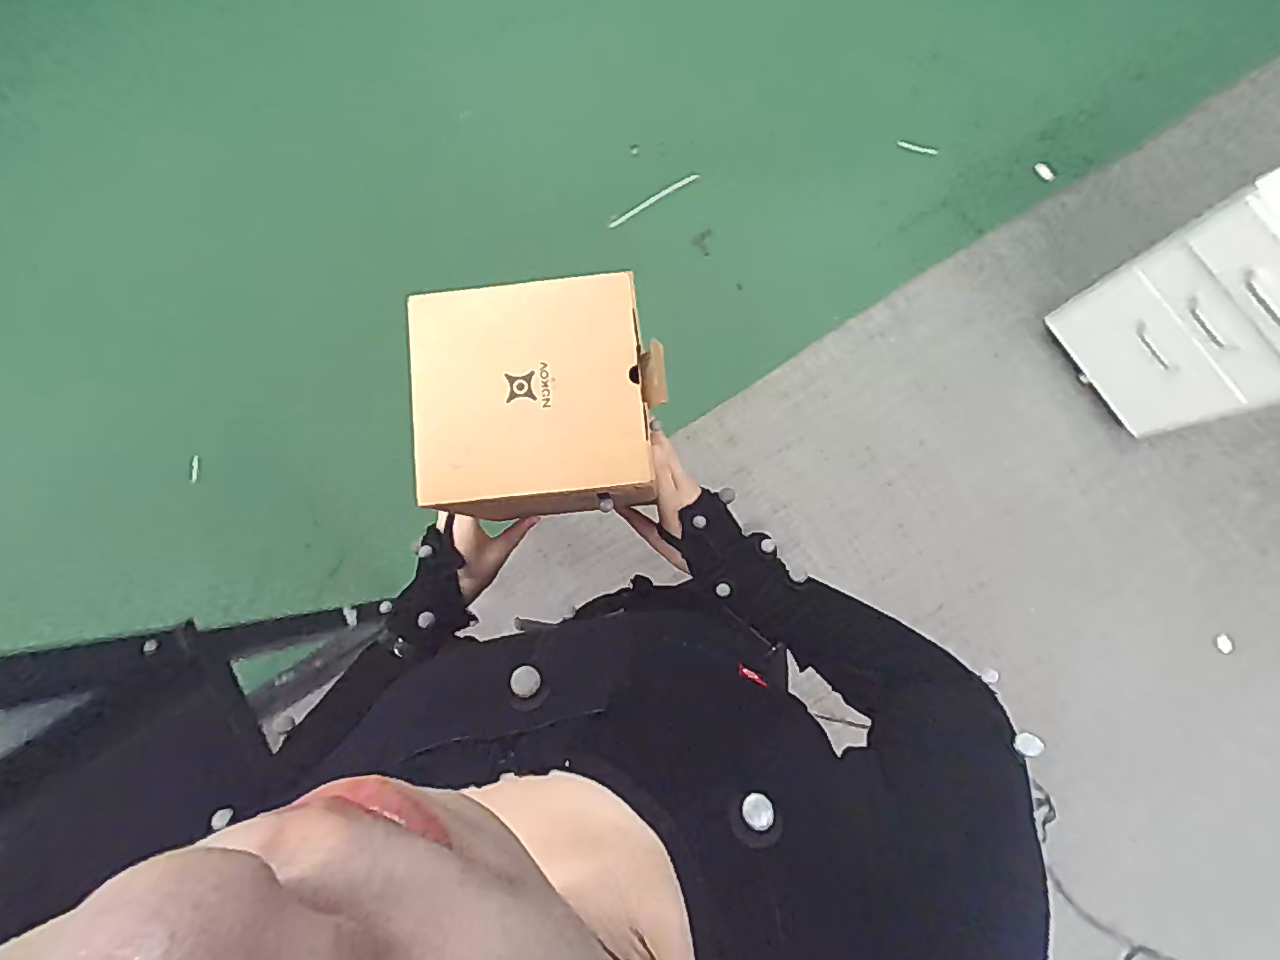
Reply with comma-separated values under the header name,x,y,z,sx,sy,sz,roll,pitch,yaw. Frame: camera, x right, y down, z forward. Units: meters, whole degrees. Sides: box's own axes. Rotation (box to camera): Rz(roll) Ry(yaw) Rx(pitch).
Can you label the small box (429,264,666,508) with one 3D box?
name,x,y,z,sx,sy,sz,roll,pitch,yaw
small box,-0.070,-0.068,0.487,0.179,0.176,0.168,-5,82,0
